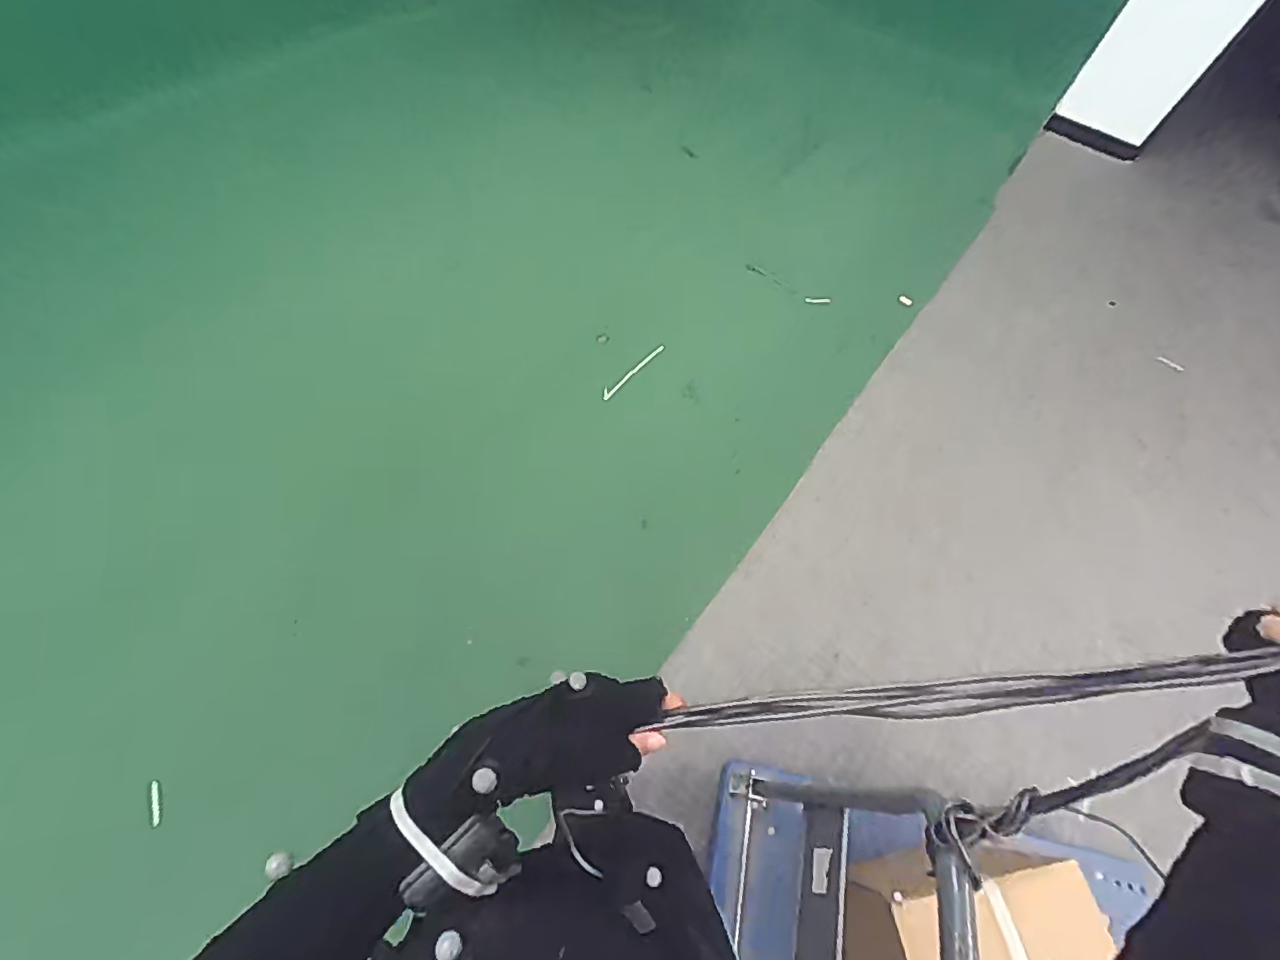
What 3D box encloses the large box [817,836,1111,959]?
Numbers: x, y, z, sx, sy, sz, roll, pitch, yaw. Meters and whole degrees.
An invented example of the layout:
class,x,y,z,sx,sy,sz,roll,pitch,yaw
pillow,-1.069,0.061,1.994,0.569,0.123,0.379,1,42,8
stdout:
class,x,y,z,sx,sy,sz,roll,pitch,yaw
large box,0.530,0.834,0.856,0.320,0.320,0.408,-5,61,-8
